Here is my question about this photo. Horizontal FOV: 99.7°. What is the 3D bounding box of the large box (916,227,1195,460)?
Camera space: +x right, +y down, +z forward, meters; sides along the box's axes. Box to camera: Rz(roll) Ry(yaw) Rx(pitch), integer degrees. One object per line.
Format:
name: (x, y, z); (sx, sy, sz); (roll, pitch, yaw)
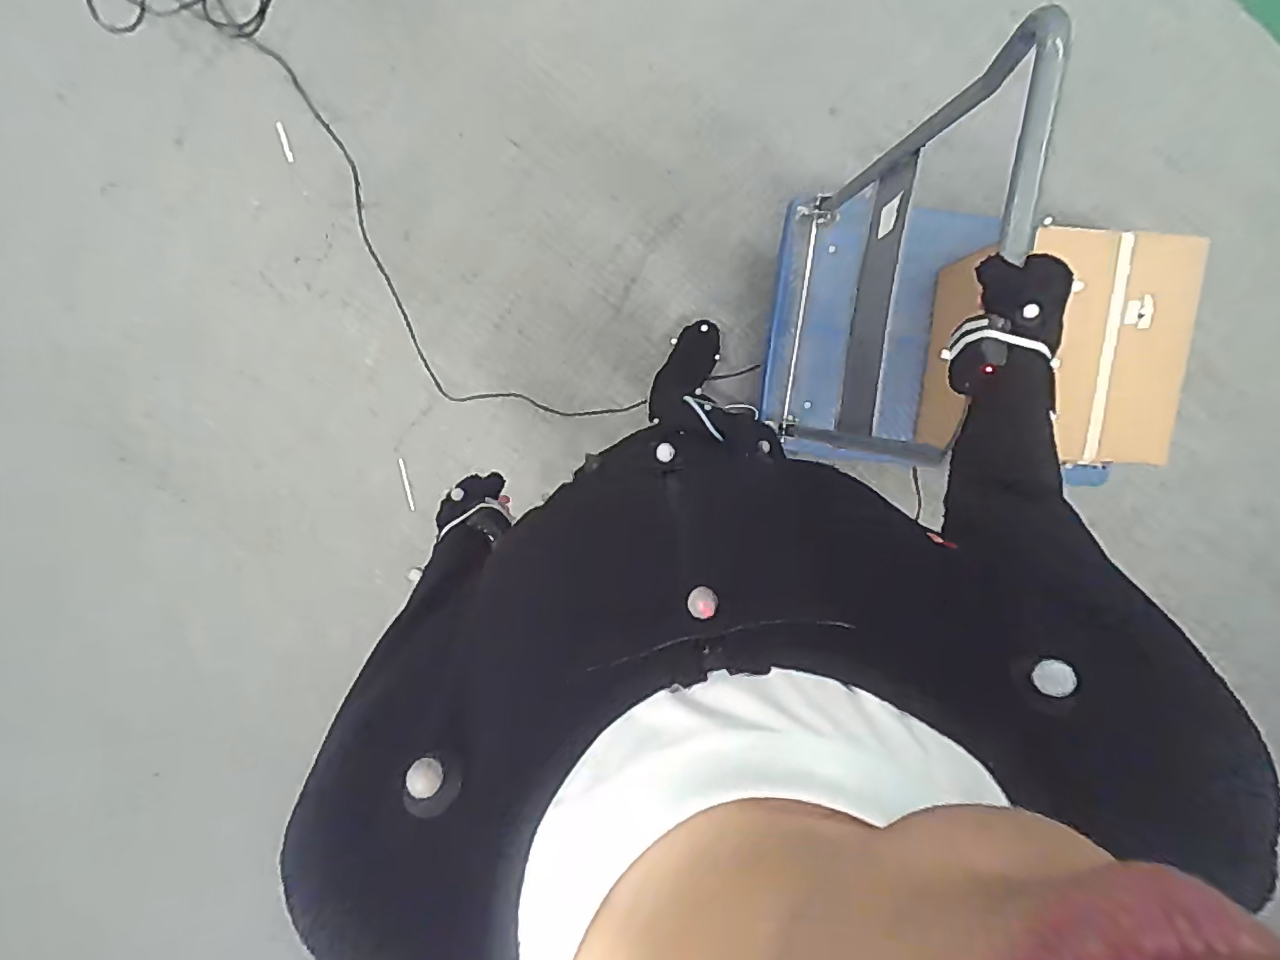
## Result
large box: (0.813, -0.254, 1.115); (0.320, 0.320, 0.408); (3, 97, -3)
